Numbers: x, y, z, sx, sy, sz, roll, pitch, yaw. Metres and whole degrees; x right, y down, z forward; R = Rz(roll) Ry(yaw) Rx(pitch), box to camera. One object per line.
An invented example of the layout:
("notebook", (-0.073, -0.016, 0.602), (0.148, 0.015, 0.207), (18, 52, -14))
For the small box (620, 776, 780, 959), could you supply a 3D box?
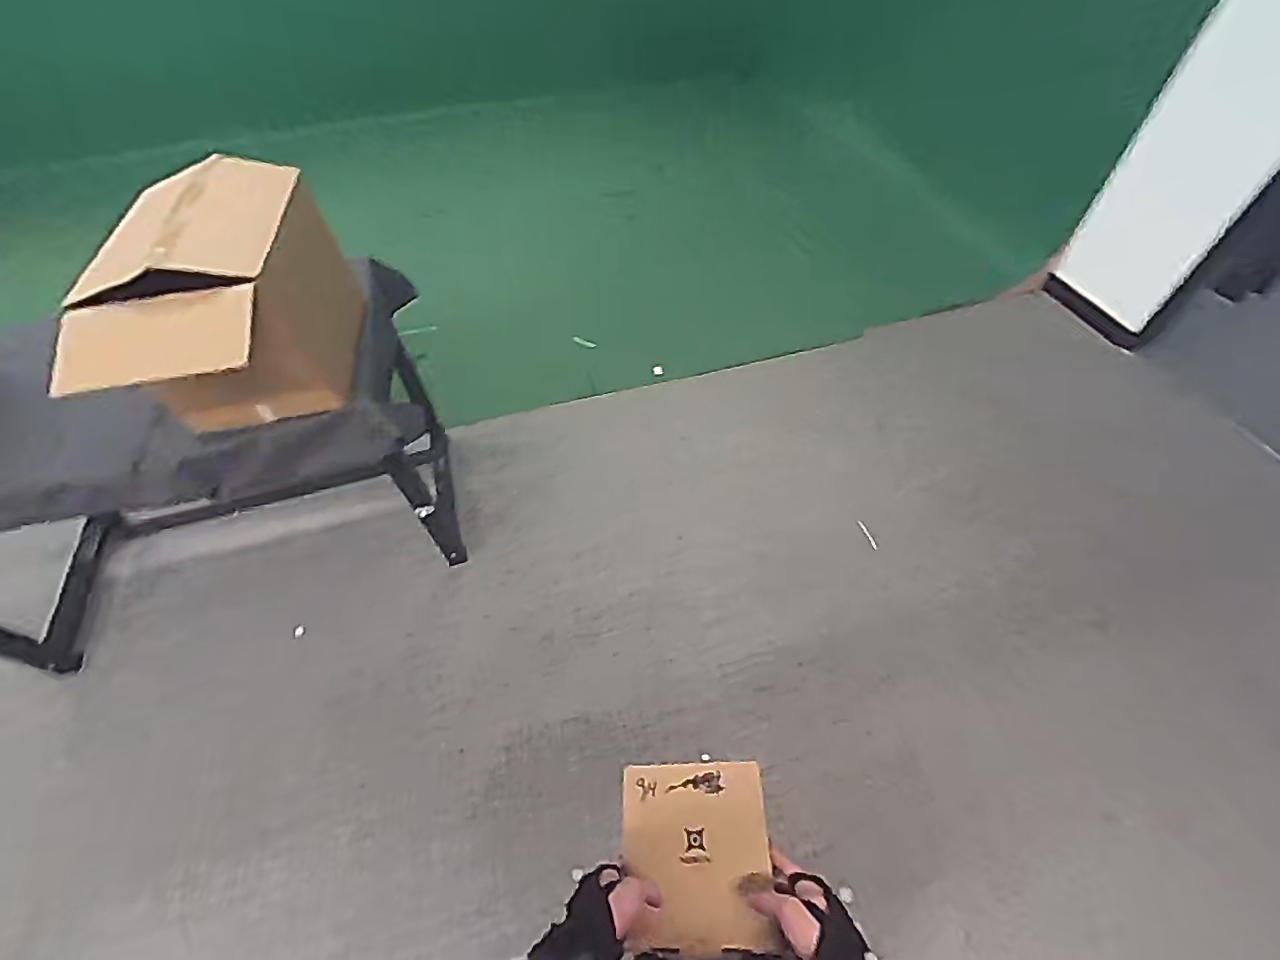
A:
("small box", (0.072, 0.466, 0.650), (0.168, 0.176, 0.179), (-7, 54, 7))
